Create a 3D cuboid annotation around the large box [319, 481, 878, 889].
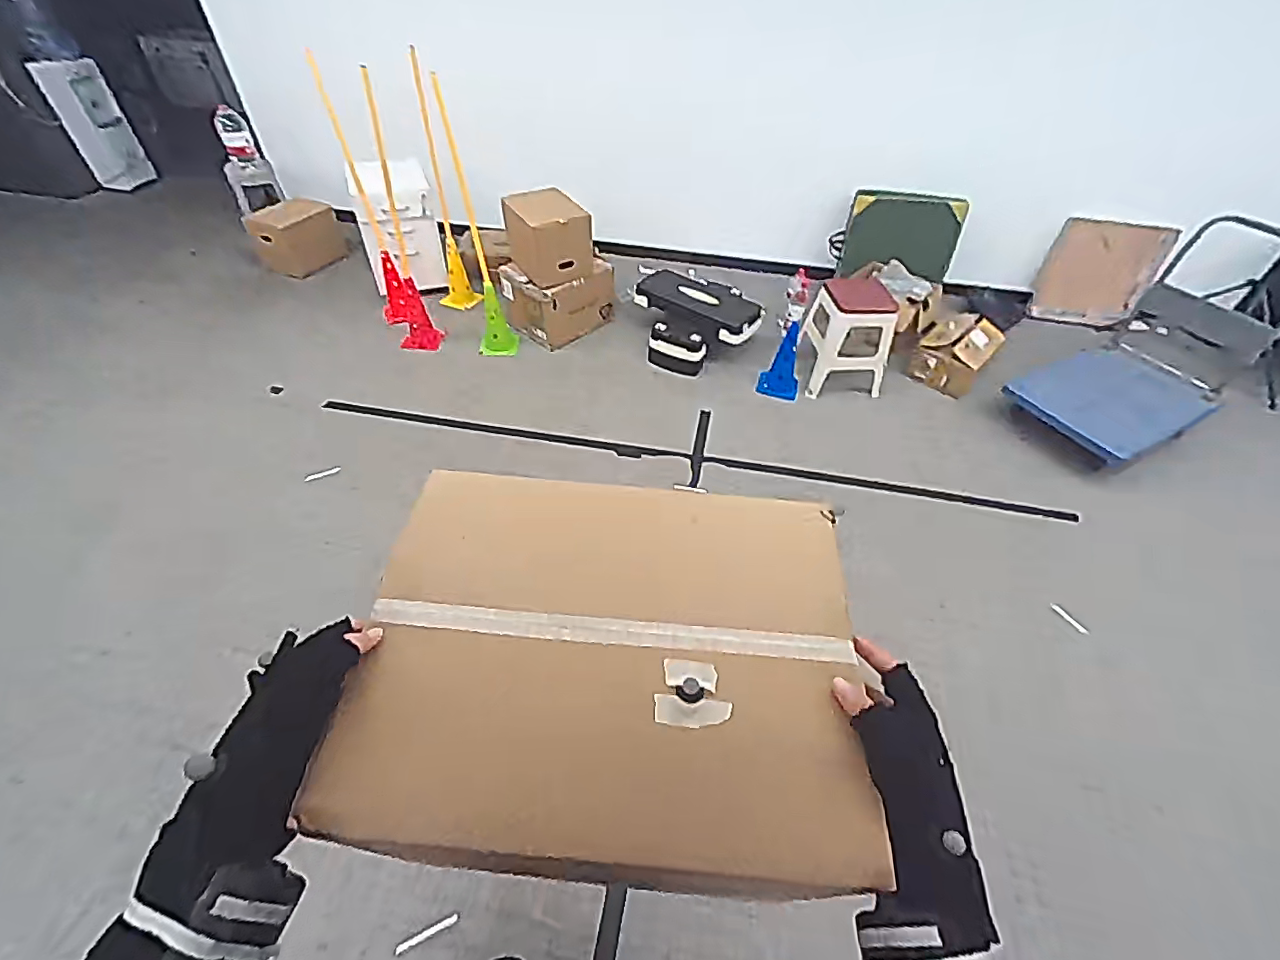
[{"bbox_3d":[-0.028,0.227,0.585,0.408,0.320,0.320,5,51,1],"label":"large box"}]
